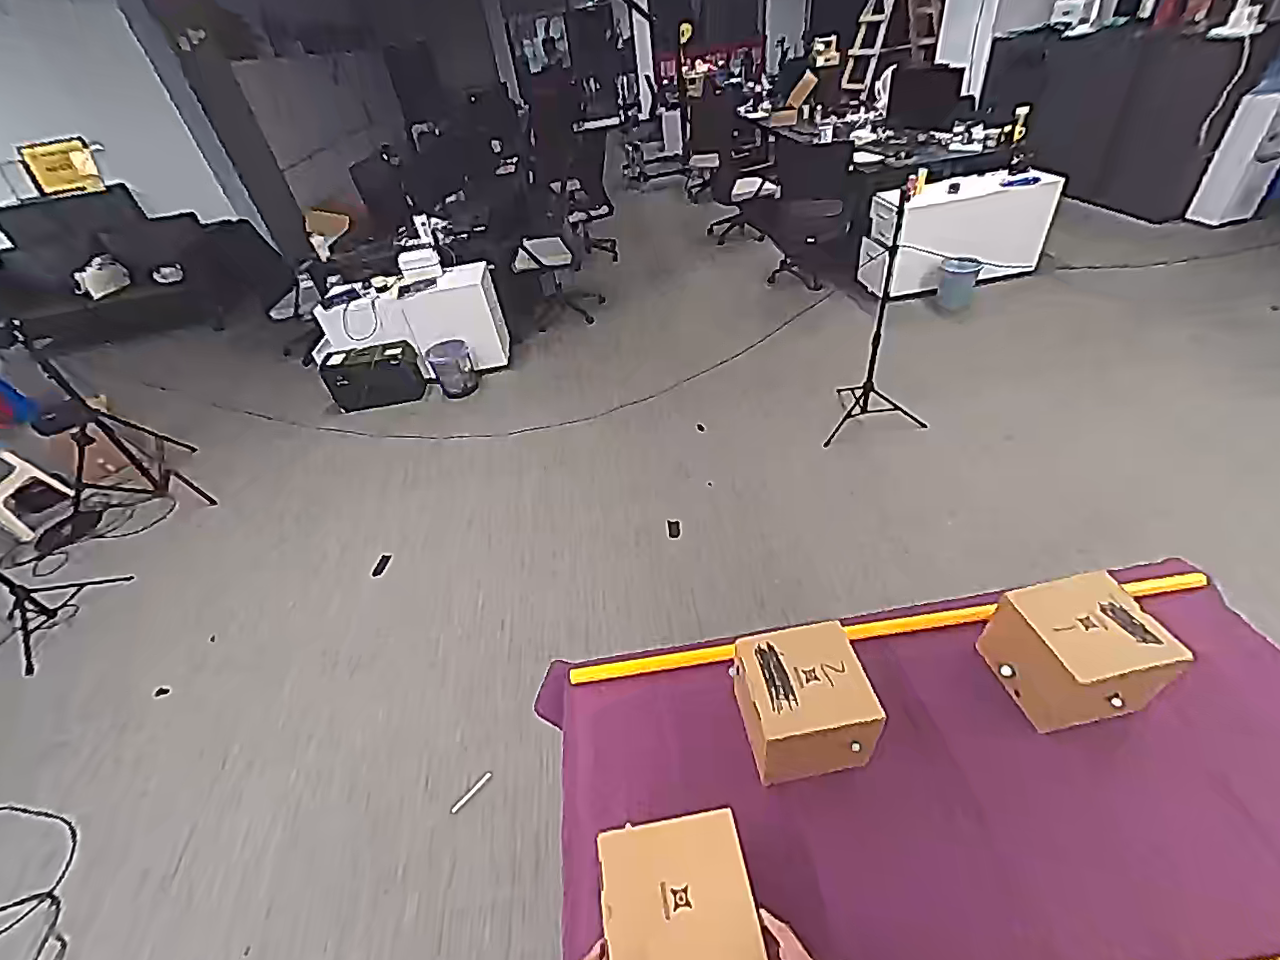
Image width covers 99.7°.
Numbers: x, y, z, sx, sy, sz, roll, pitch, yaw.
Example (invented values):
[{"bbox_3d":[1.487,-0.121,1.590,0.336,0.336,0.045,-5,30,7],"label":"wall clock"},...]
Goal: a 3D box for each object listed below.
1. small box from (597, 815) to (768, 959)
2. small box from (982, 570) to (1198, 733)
[{"bbox_3d":[0.050,0.547,0.669,0.179,0.176,0.168,-10,40,-2],"label":"small box"},{"bbox_3d":[0.692,0.274,0.860,0.179,0.176,0.168,-13,41,-2],"label":"small box"}]
